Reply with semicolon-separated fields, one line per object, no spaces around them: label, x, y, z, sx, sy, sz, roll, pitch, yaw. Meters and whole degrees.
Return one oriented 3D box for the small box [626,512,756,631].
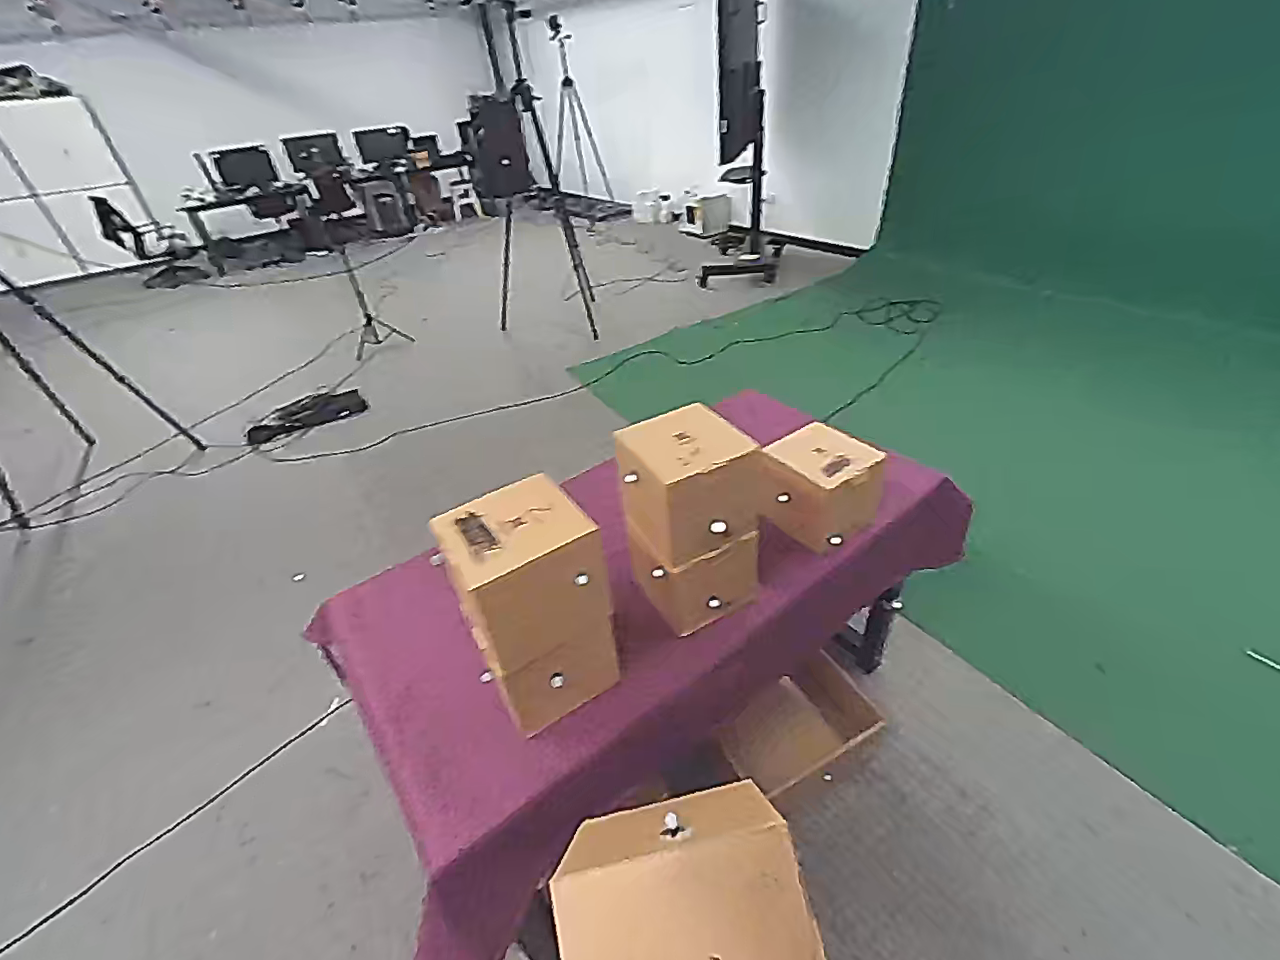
small box;0.090;0.137;0.982;0.168;0.176;0.179;-23;41;-20

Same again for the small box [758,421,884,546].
small box;0.360;0.010;1.101;0.168;0.176;0.179;-26;40;-23

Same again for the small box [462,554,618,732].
small box;-0.153;0.258;0.859;0.179;0.176;0.168;-26;42;-23

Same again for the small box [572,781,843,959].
small box;0.053;0.360;0.434;0.179;0.176;0.168;-11;70;-1

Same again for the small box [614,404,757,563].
small box;0.072;0.003;0.888;0.168;0.176;0.179;-22;40;-18
